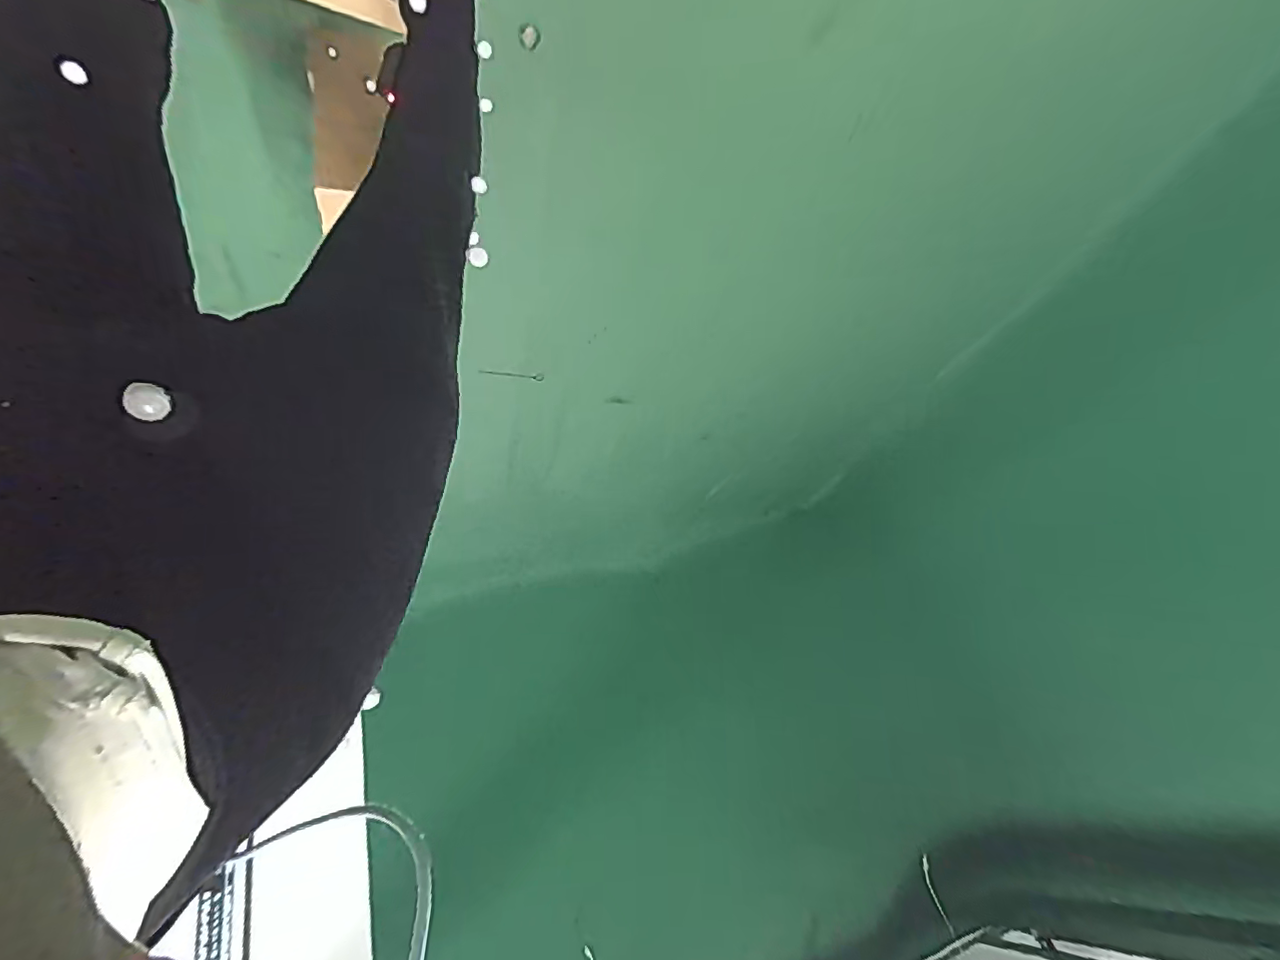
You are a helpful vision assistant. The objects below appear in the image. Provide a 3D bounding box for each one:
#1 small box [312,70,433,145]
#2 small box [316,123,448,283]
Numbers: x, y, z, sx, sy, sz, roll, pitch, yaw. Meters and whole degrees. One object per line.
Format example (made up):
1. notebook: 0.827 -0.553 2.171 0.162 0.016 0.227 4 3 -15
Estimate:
1. small box: -0.461 -0.584 0.955 0.179 0.176 0.168 -5 151 -21
2. small box: -0.414 -0.445 0.878 0.179 0.176 0.168 -5 150 -22
